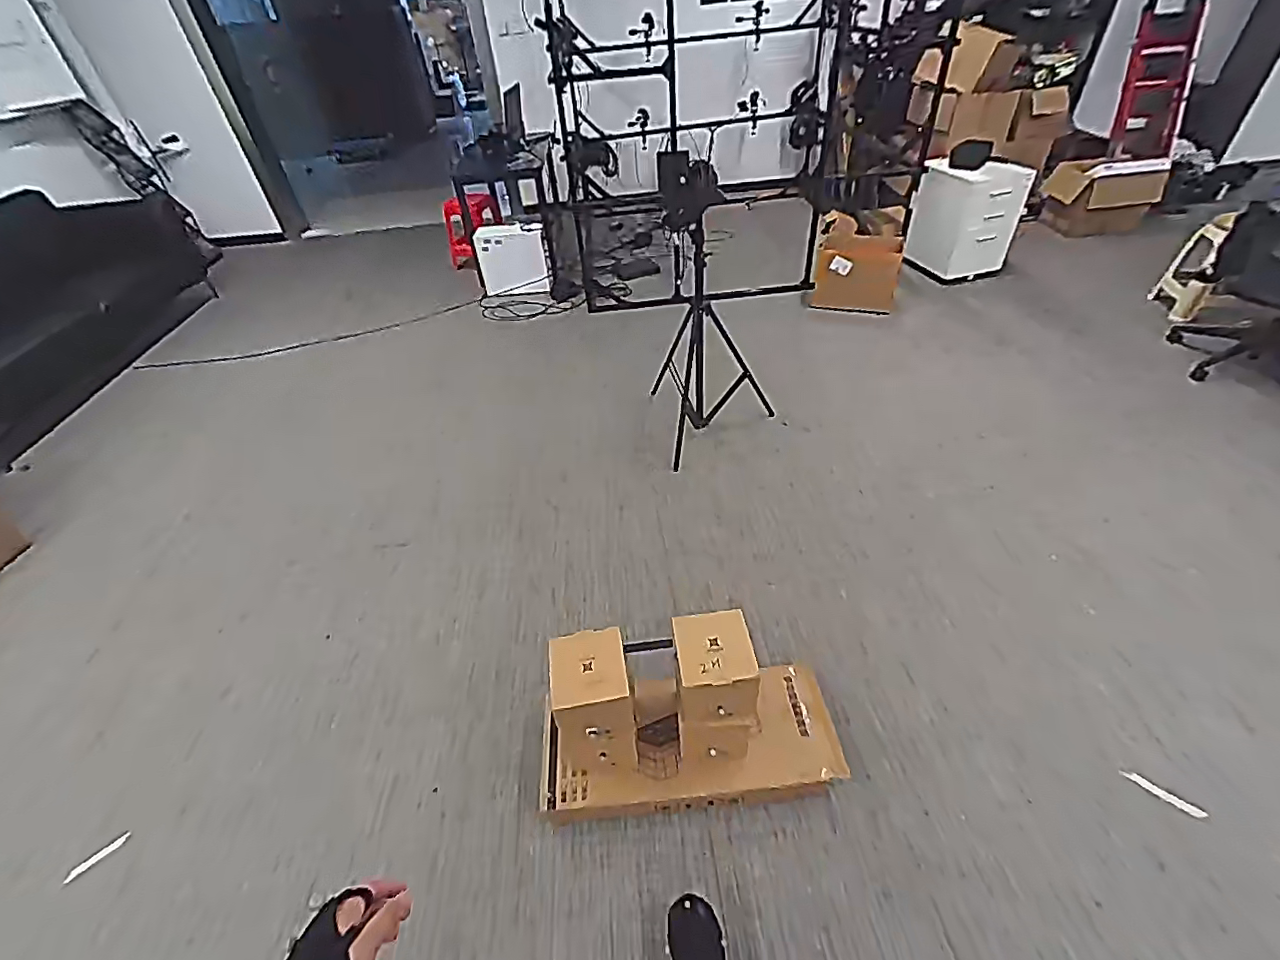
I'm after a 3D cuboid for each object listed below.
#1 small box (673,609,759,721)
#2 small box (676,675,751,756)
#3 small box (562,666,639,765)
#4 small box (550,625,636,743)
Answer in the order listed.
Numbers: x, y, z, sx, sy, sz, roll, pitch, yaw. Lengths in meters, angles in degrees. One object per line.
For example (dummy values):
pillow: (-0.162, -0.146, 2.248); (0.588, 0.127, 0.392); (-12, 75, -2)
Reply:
small box: (0.167, 0.423, 1.239); (0.168, 0.176, 0.179); (-7, 41, -1)
small box: (0.175, 0.558, 1.337); (0.168, 0.176, 0.179); (-4, 42, 3)
small box: (-0.093, 0.585, 1.335); (0.168, 0.176, 0.179); (-5, 42, 1)
small box: (-0.108, 0.462, 1.227); (0.168, 0.176, 0.179); (-10, 42, -4)
